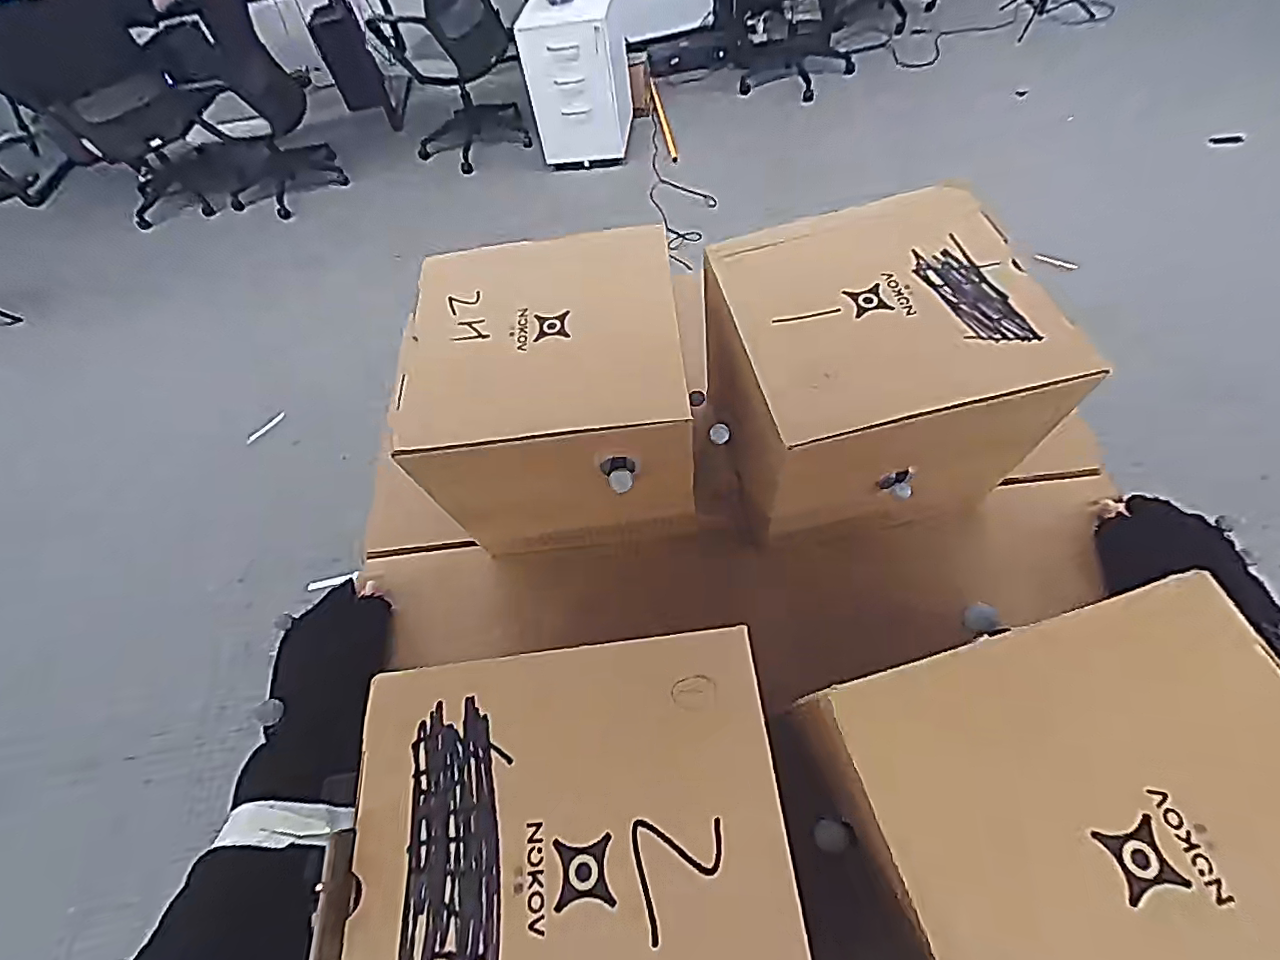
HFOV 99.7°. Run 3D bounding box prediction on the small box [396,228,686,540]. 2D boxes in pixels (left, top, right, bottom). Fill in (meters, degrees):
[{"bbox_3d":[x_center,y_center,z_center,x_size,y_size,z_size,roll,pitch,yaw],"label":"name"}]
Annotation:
[{"bbox_3d":[-0.056,-0.062,0.424,0.179,0.176,0.168,-6,61,5],"label":"small box"}]
